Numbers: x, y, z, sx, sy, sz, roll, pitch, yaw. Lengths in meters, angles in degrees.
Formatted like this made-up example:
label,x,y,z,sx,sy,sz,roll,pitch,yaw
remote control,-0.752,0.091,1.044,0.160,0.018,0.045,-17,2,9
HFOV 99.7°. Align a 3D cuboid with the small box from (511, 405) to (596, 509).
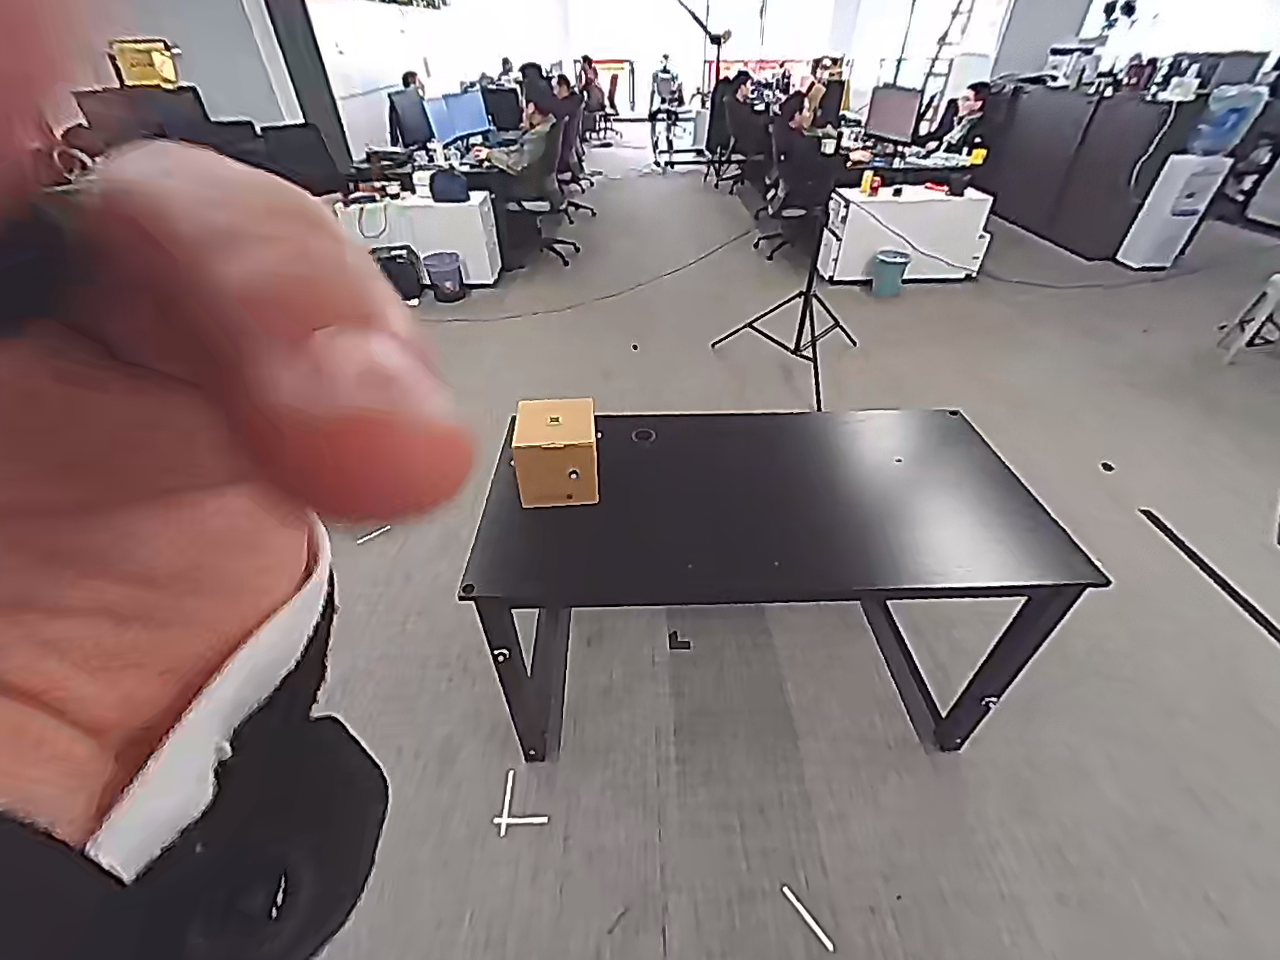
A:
label,x,y,z,sx,sy,sz,roll,pitch,yaw
small box,-0.185,-0.047,1.198,0.168,0.176,0.179,-3,38,-5
